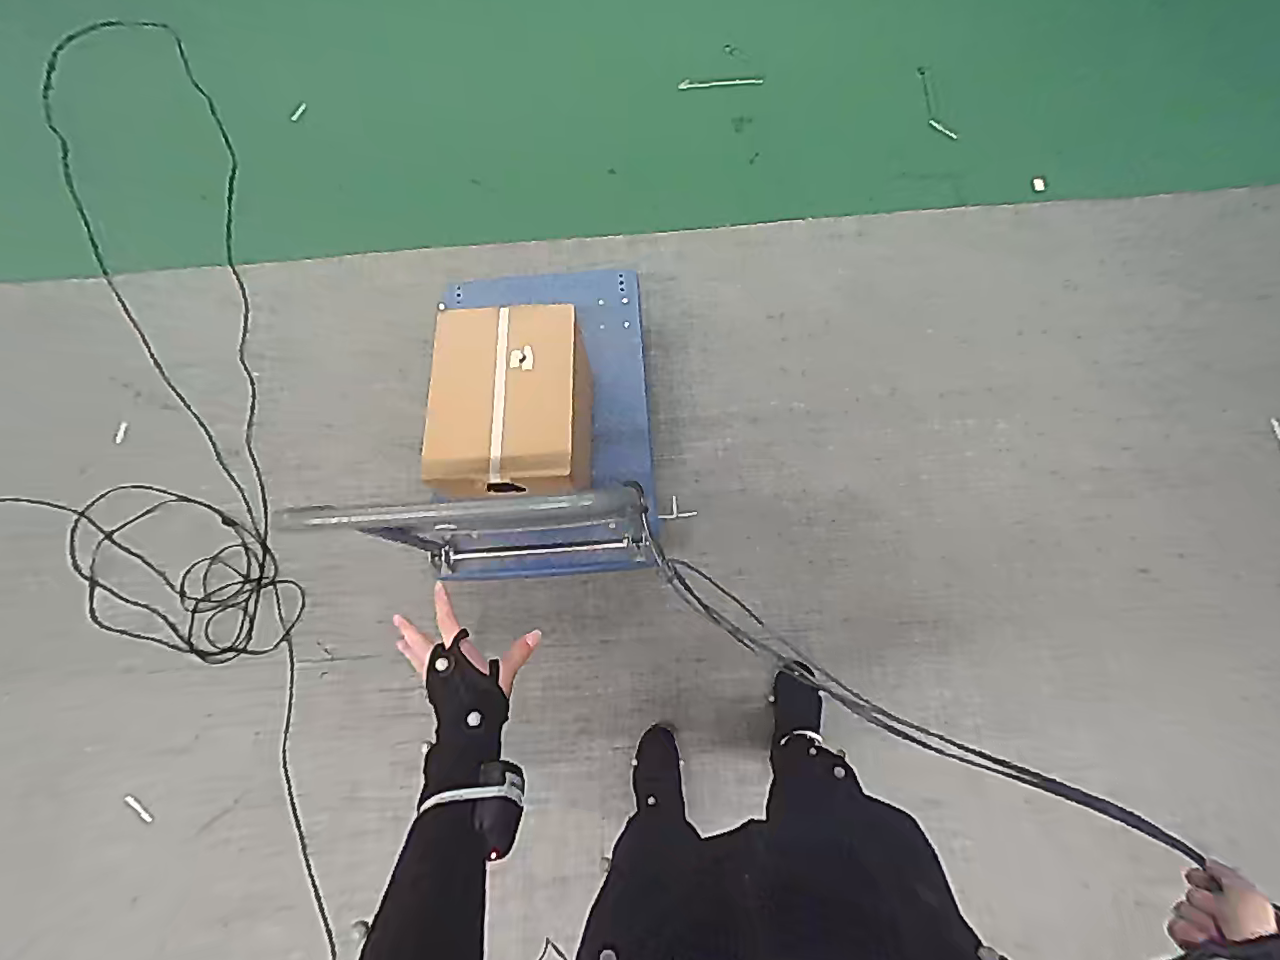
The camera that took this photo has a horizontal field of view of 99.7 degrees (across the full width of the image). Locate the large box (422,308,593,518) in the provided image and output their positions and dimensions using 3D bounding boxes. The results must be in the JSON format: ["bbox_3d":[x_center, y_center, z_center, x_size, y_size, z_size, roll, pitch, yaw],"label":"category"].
[{"bbox_3d":[-0.285,-0.142,1.282,0.320,0.320,0.408,-1,72,2],"label":"large box"}]
